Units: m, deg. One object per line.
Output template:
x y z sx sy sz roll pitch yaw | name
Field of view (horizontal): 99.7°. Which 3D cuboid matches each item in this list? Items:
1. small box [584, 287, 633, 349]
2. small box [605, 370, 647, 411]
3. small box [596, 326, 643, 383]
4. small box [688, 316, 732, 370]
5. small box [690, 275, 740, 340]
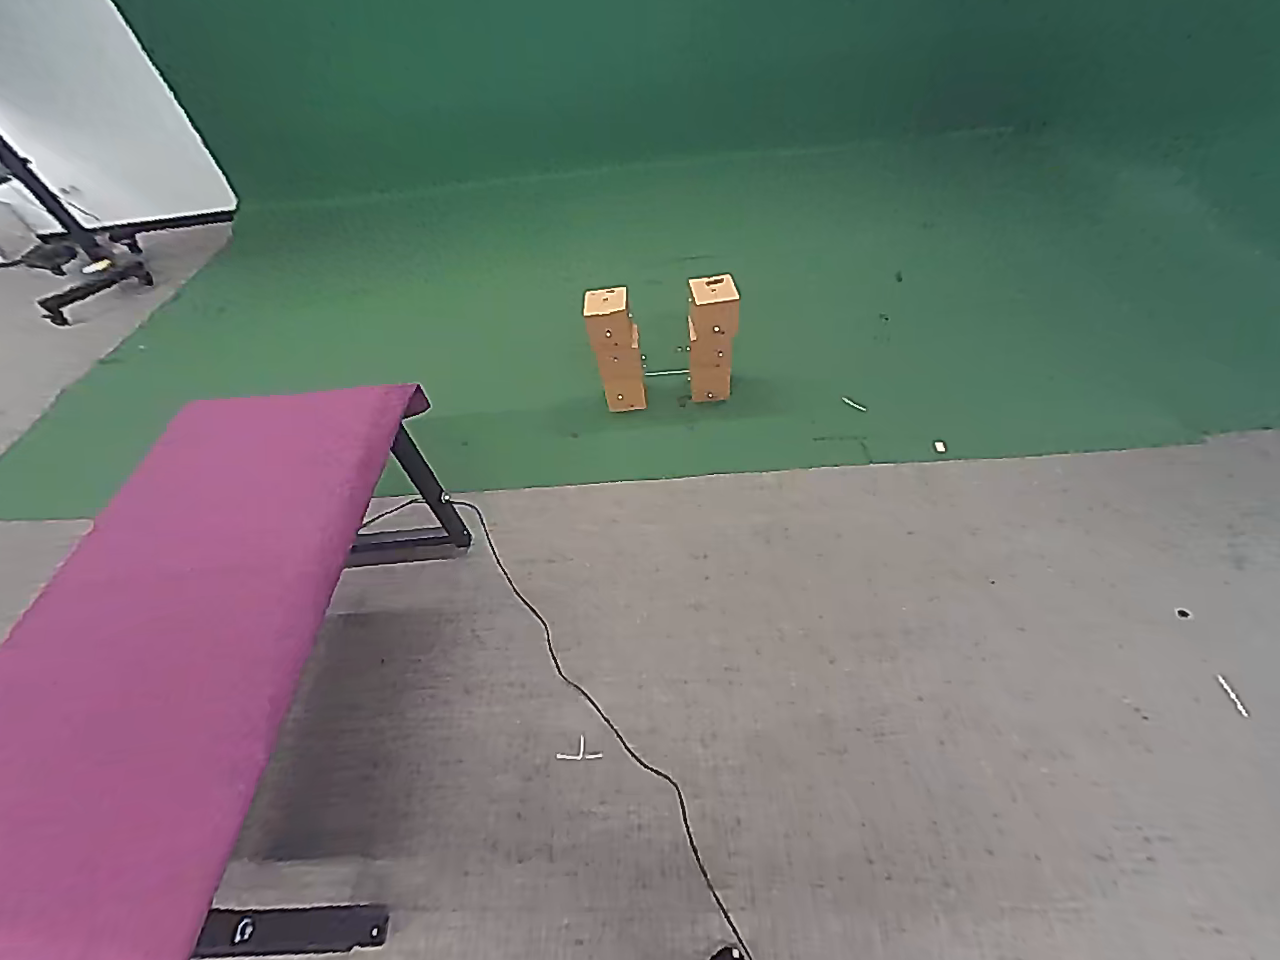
-0.121 -0.639 2.156 0.168 0.176 0.179 -5 50 6 | small box
-0.060 -0.420 2.395 0.168 0.176 0.179 -5 48 5 | small box
-0.082 -0.523 2.268 0.179 0.176 0.168 -5 49 4 | small box
0.292 -0.571 2.253 0.168 0.176 0.179 -4 50 3 | small box
0.290 -0.676 2.127 0.168 0.176 0.179 -8 51 0 | small box
